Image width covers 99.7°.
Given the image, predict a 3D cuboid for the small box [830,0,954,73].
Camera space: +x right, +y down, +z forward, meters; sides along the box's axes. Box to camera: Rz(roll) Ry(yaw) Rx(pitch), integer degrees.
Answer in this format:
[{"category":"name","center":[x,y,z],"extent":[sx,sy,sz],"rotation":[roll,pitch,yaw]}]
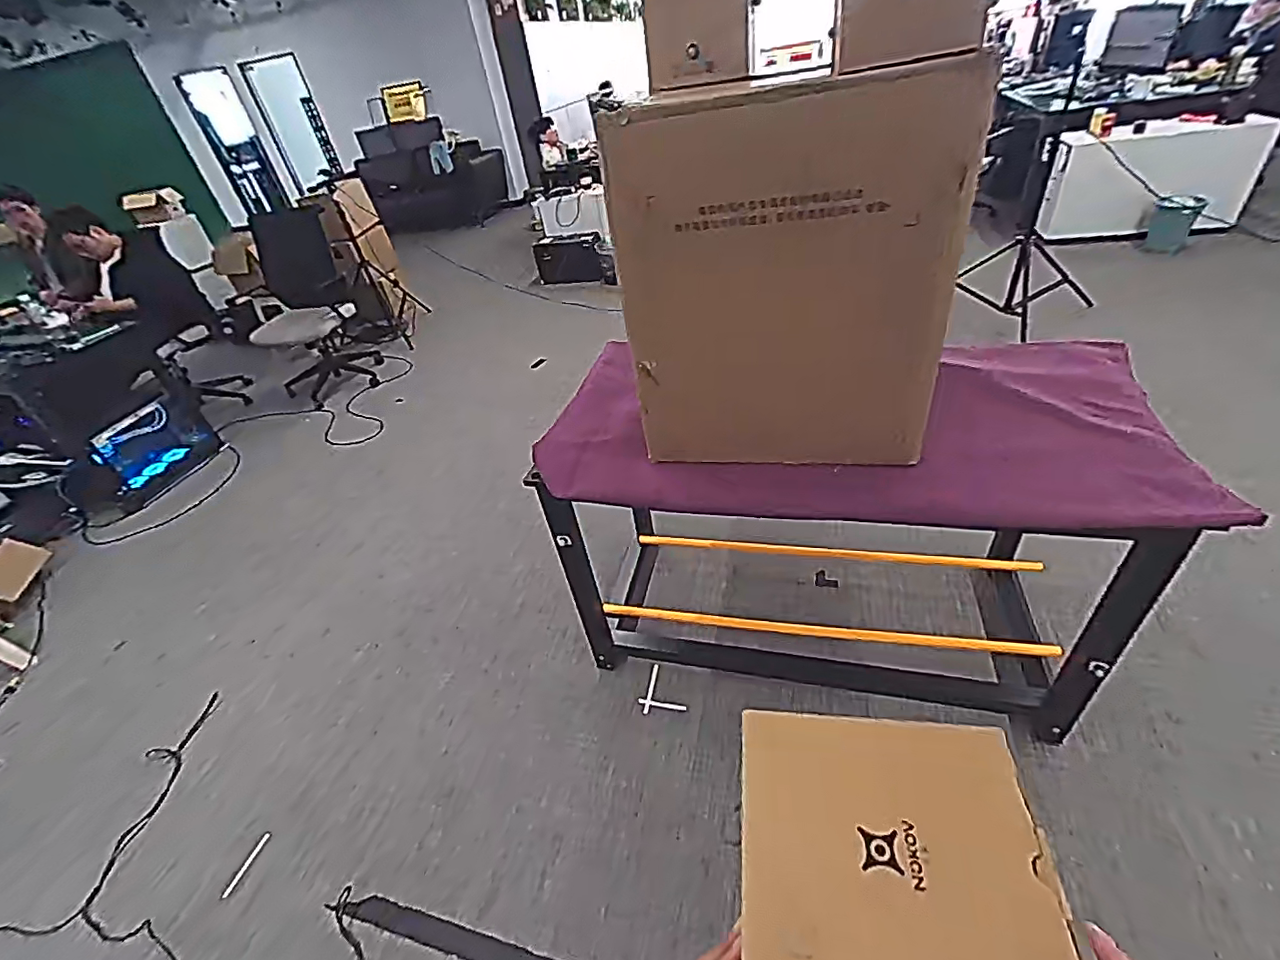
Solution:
[{"category":"small box","center":[0.387,-0.750,0.839],"extent":[0.168,0.176,0.179],"rotation":[2,39,18]}]

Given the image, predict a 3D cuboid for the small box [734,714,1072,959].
[{"category":"small box","center":[0.160,0.289,0.380],"extent":[0.179,0.176,0.168],"rotation":[-1,40,12]}]
